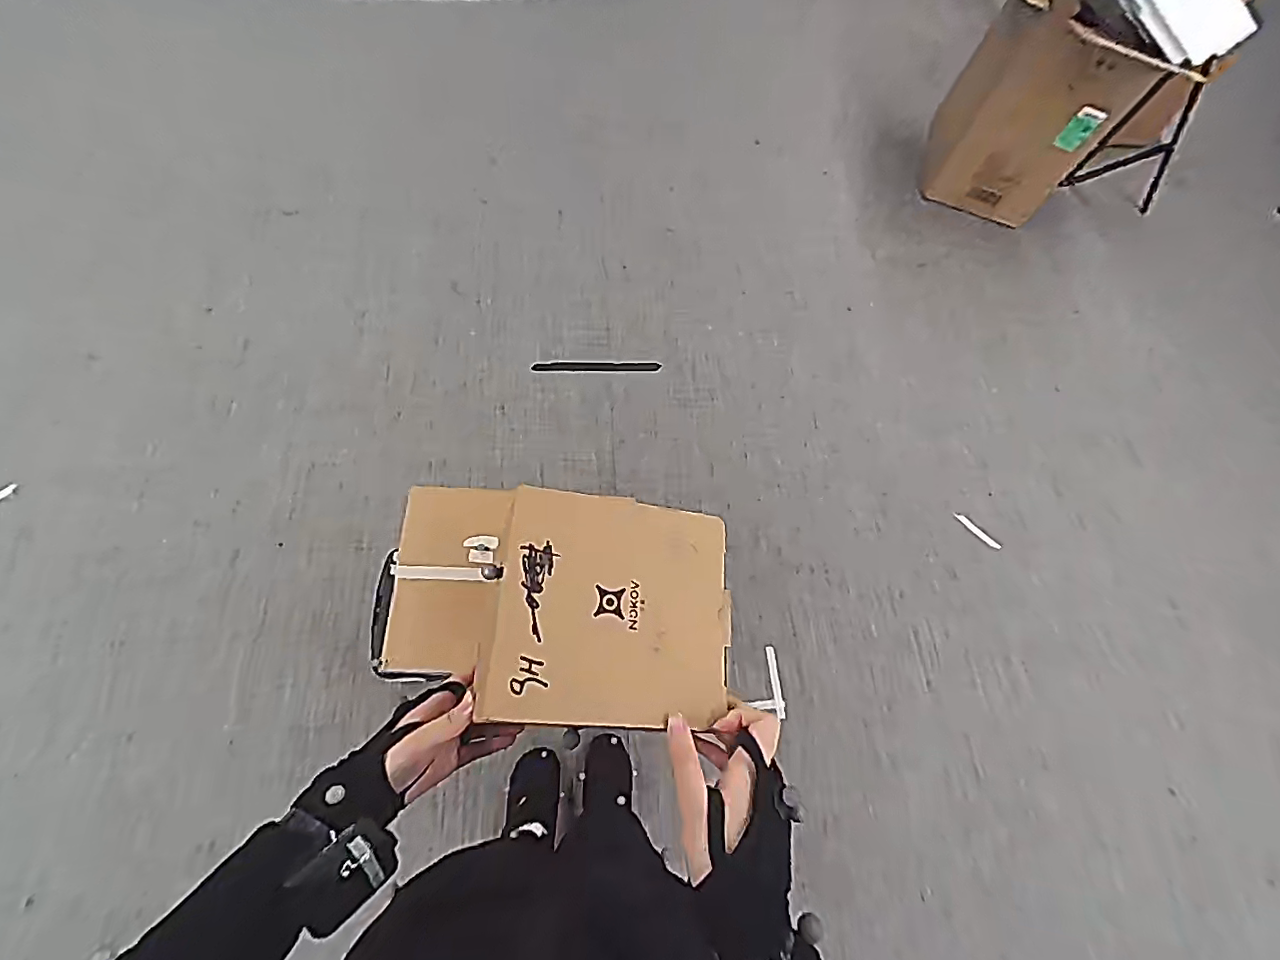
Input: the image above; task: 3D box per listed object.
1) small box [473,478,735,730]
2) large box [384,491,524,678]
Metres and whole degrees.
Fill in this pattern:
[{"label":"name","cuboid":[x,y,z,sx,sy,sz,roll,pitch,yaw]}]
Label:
[{"label":"small box","cuboid":[-0.036,0.118,0.464,0.179,0.176,0.168,11,63,-16]},{"label":"large box","cuboid":[-0.217,0.221,1.053,0.408,0.320,0.320,3,68,-5]}]
